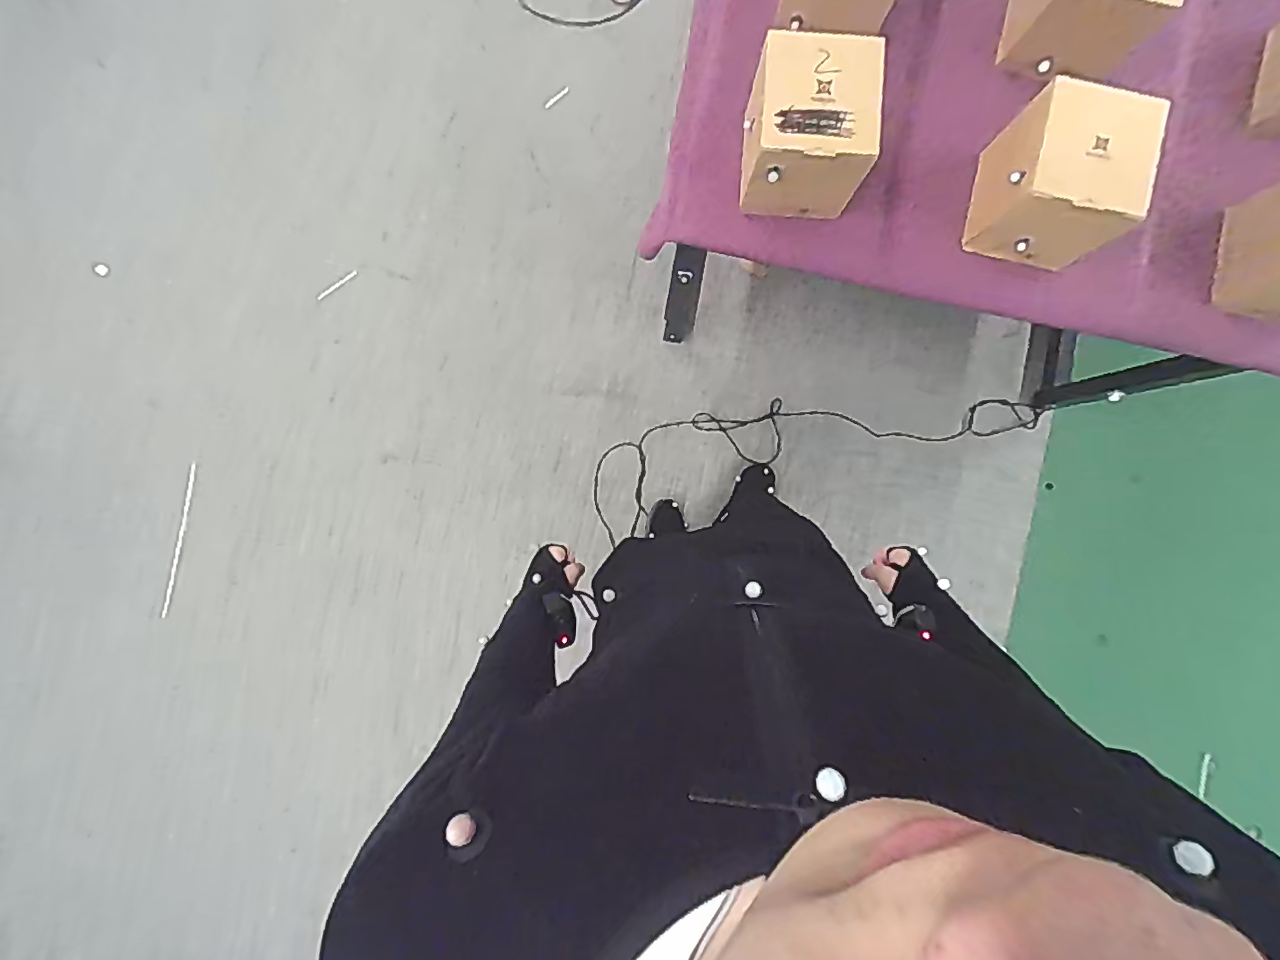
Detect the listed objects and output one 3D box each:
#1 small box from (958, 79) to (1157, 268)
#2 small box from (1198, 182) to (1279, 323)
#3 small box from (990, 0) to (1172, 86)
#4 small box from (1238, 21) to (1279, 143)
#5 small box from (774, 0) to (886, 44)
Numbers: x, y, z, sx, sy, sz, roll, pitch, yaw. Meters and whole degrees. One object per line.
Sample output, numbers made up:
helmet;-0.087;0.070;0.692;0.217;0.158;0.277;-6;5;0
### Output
small box;0.632;-0.462;0.841;0.168;0.176;0.179;13;89;-1
small box;1.041;-0.366;0.843;0.168;0.176;0.179;11;90;1
small box;0.688;-0.764;0.842;0.168;0.176;0.179;14;91;0
small box;1.113;-0.663;0.846;0.168;0.176;0.179;12;90;0
small box;0.317;-0.829;0.832;0.168;0.176;0.179;12;91;-1
